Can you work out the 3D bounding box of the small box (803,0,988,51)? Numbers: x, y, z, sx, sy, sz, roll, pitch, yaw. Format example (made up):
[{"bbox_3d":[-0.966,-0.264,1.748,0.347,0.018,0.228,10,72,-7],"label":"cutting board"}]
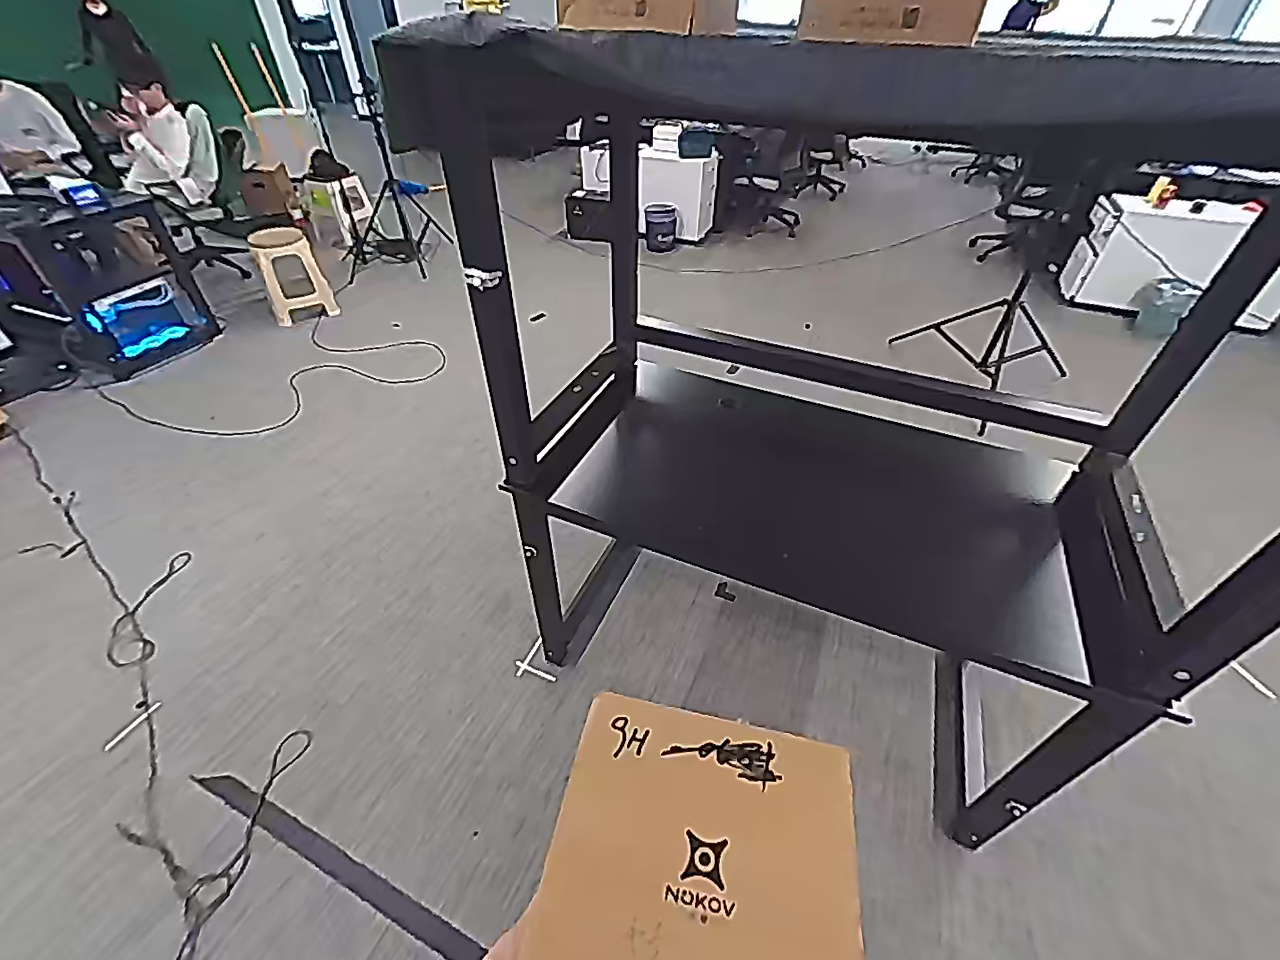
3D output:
[{"bbox_3d":[0.269,-0.533,0.526,0.168,0.176,0.179,17,42,18],"label":"small box"}]

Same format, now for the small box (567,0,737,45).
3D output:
[{"bbox_3d":[0.020,-0.607,0.610,0.168,0.176,0.179,17,43,16],"label":"small box"}]

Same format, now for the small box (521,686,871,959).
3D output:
[{"bbox_3d":[0.032,0.263,0.336,0.168,0.176,0.179,11,45,7],"label":"small box"}]
